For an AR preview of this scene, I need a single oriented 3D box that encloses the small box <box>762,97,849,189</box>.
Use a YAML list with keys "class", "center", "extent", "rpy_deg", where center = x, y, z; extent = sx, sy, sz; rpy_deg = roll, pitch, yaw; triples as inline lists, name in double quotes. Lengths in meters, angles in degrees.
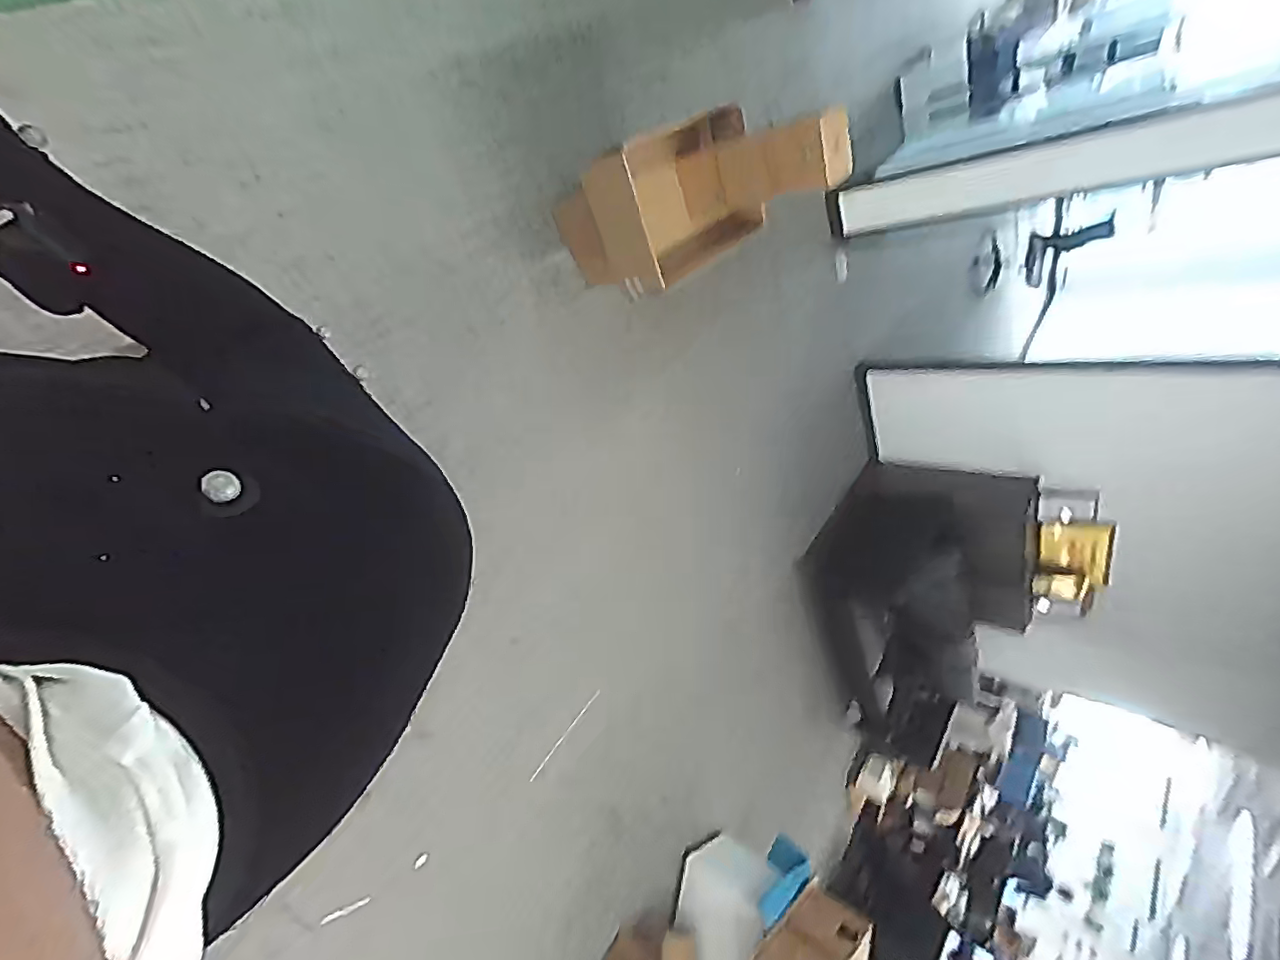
- class: "small box"
  center: [0.468, -0.942, 1.525]
  extent: [0.168, 0.176, 0.179]
  rpy_deg: [-44, 128, -31]
